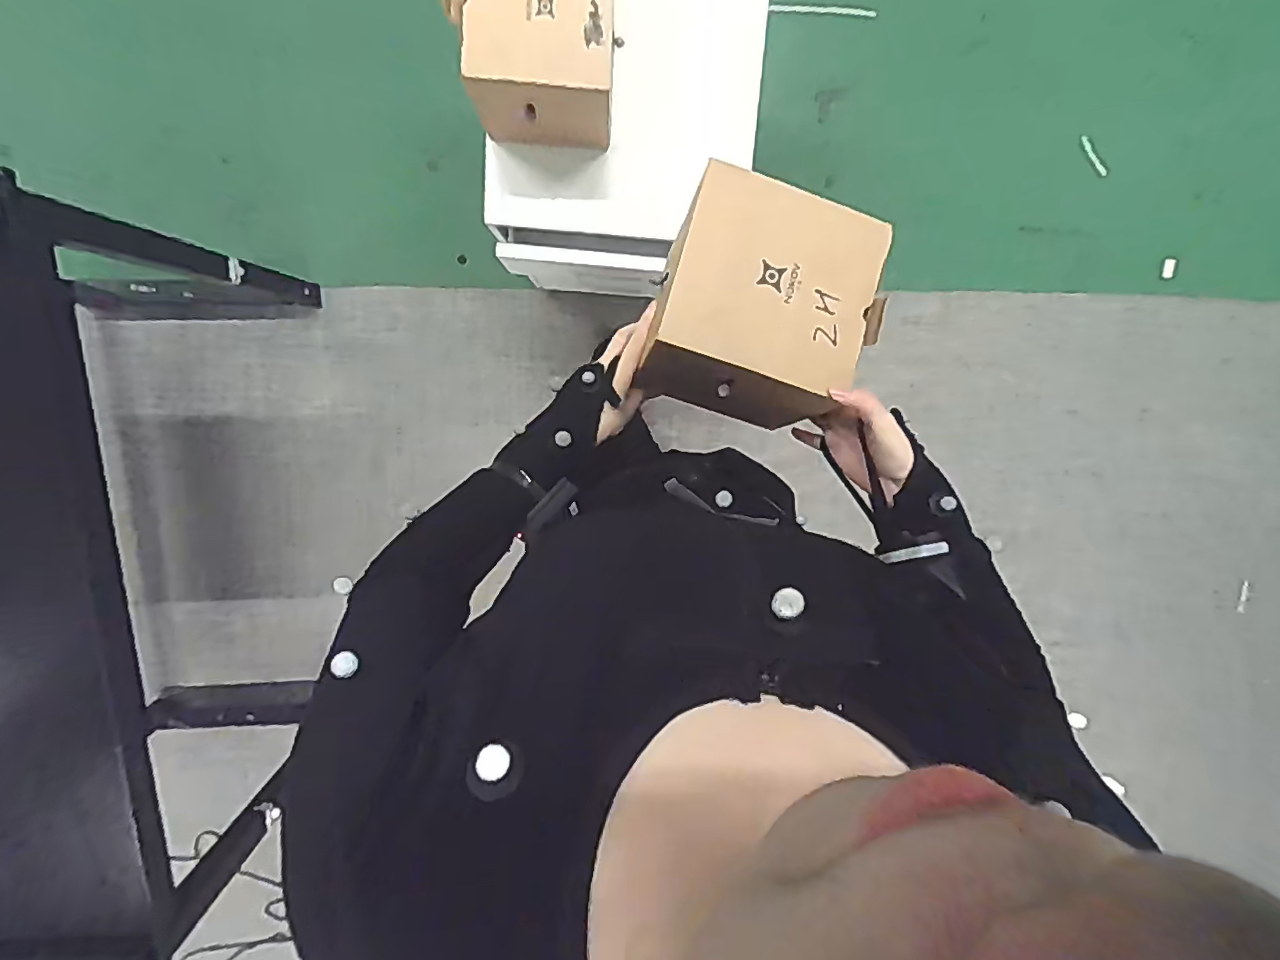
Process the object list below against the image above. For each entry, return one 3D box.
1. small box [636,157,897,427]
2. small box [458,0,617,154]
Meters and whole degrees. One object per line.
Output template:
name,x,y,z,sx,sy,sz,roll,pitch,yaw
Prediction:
small box,0.105,-0.160,0.524,0.179,0.176,0.168,17,85,-7
small box,-0.121,-0.543,0.692,0.179,0.176,0.168,2,99,-3
